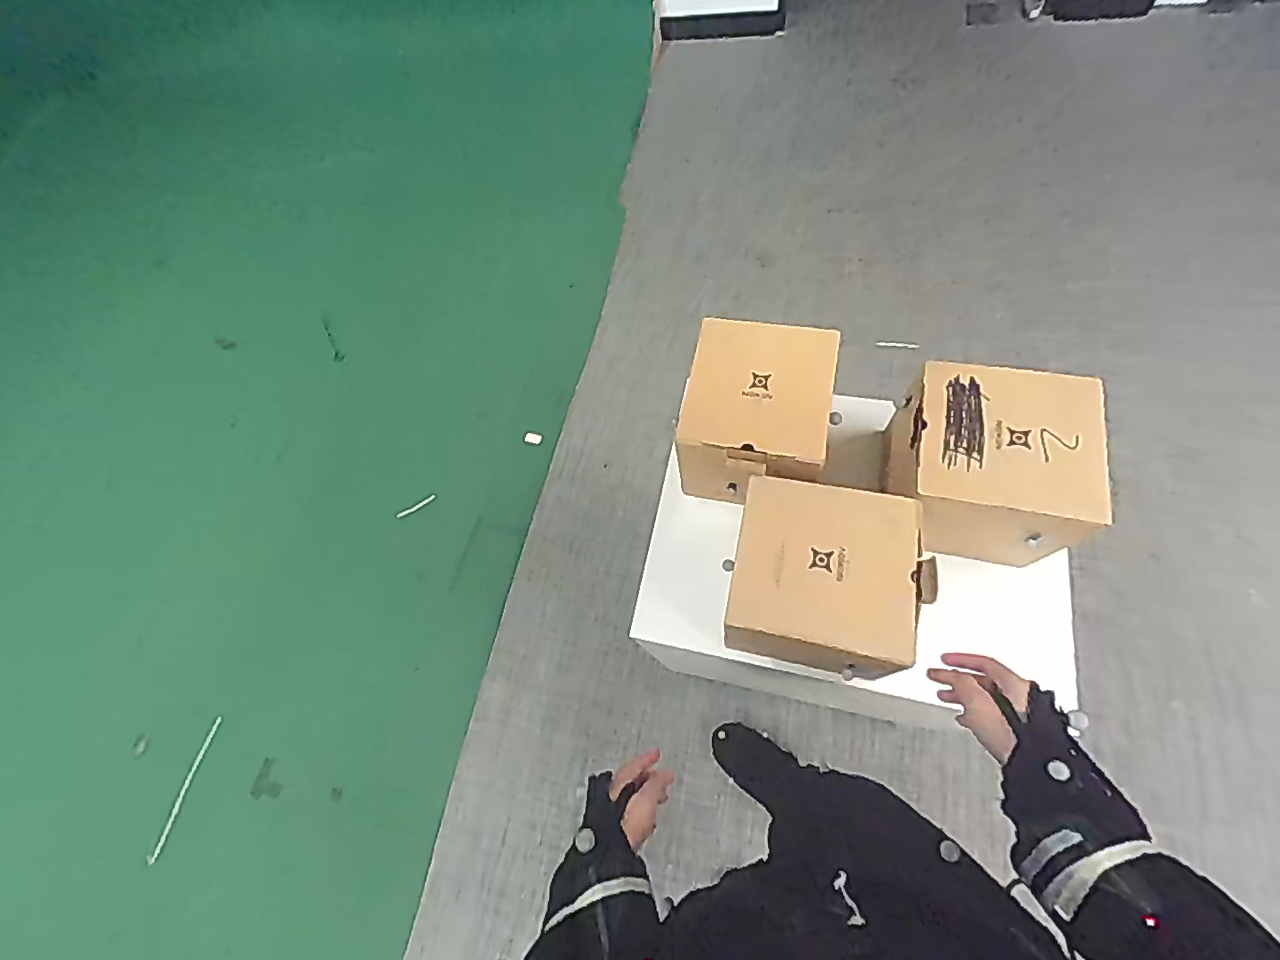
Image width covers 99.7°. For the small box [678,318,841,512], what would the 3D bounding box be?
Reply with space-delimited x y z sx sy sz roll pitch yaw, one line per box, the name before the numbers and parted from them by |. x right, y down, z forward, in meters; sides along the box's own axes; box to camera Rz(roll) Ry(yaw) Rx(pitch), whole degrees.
small box | 0.149 -0.078 0.696 0.168 0.176 0.179 10 69 12
